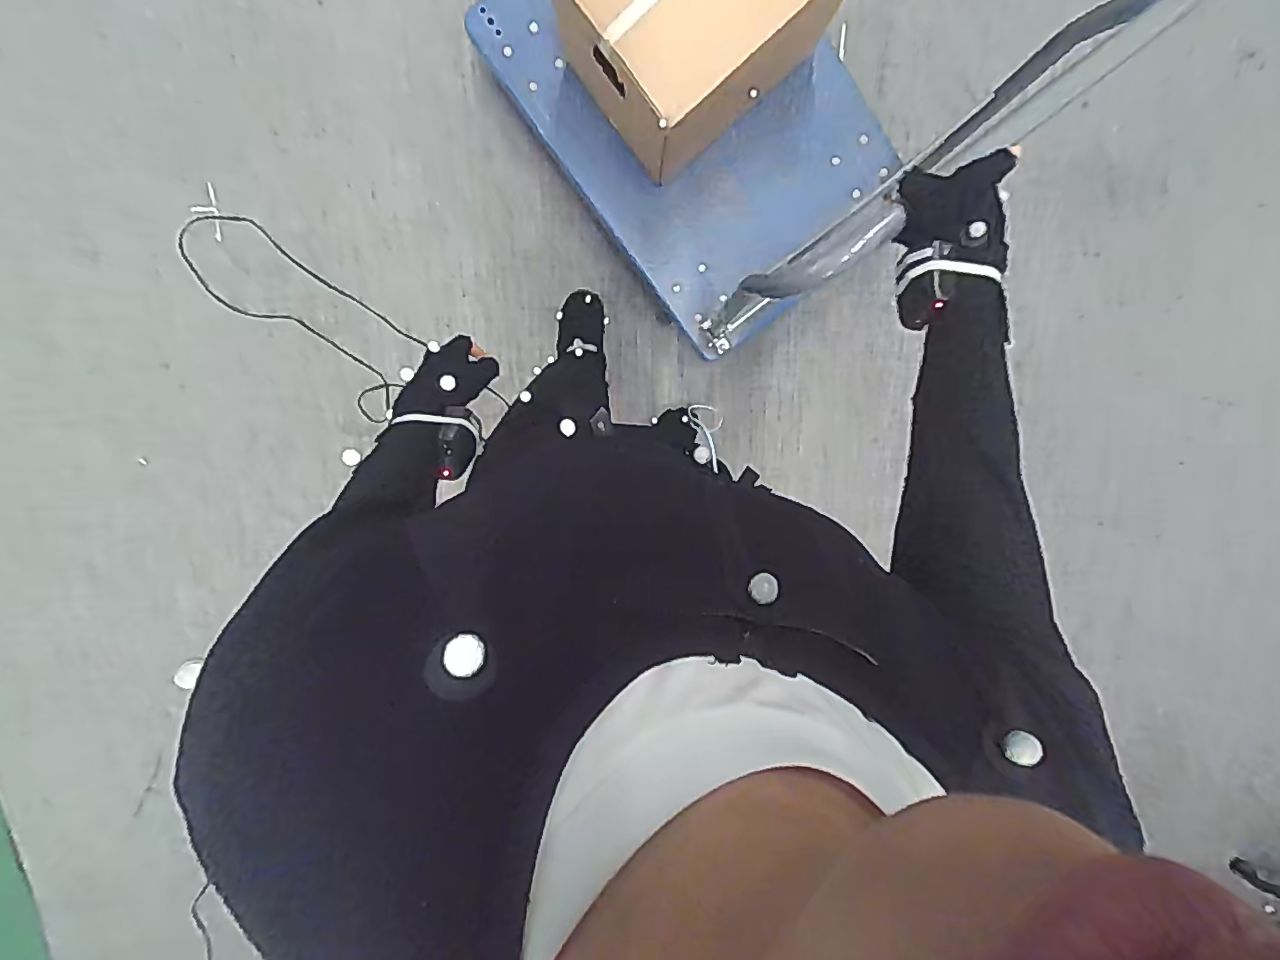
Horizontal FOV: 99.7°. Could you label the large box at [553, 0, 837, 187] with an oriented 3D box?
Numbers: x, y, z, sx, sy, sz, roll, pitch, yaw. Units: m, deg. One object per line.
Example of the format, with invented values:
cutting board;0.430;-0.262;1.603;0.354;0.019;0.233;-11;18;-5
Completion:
large box;0.102;-0.827;0.963;0.408;0.320;0.320;-39;99;9
